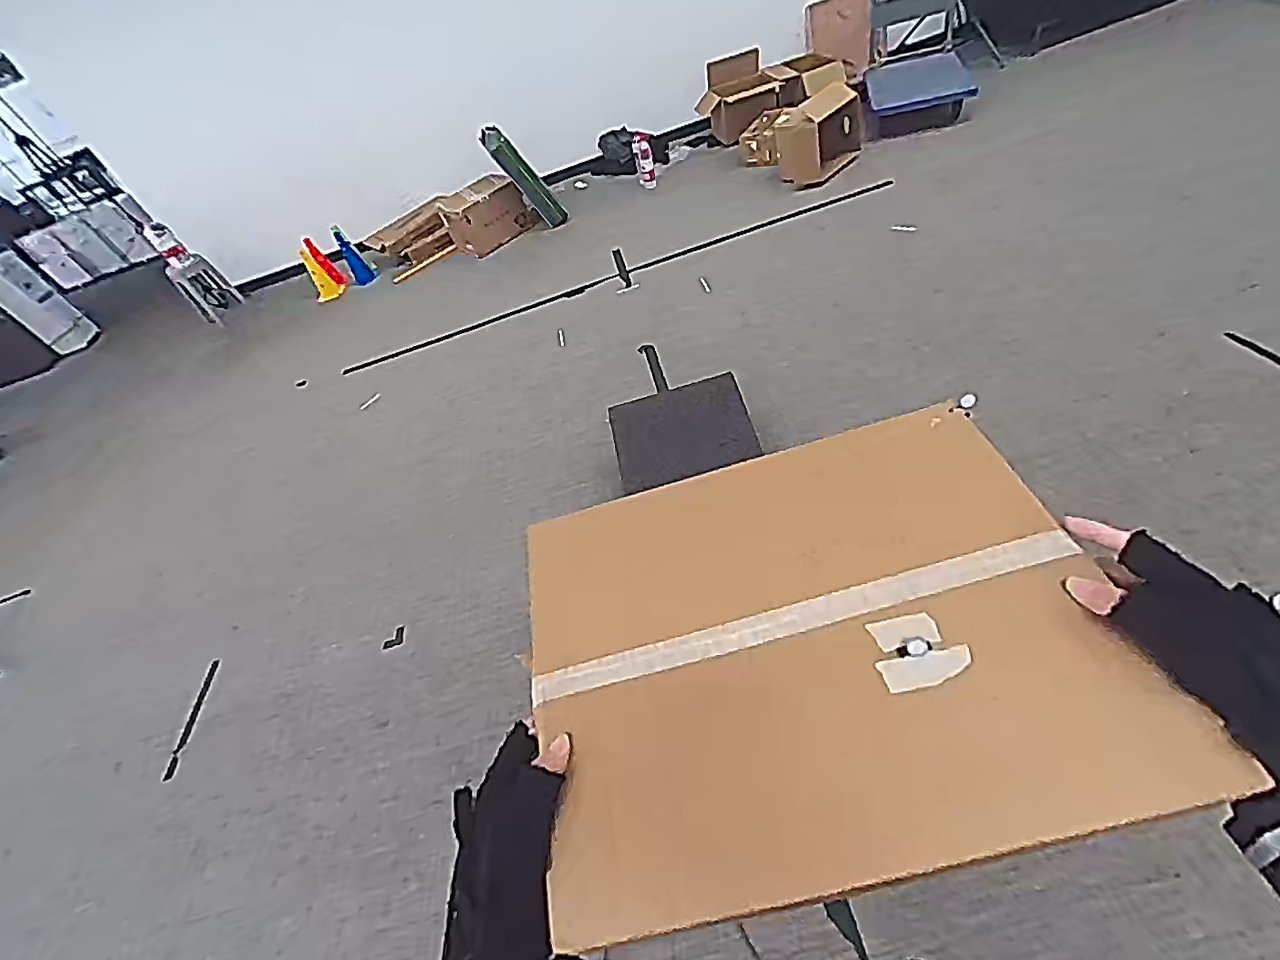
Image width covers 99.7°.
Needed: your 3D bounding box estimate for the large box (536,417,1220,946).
[{"bbox_3d":[0.150,0.202,0.526,0.408,0.320,0.320,-17,50,4],"label":"large box"}]
